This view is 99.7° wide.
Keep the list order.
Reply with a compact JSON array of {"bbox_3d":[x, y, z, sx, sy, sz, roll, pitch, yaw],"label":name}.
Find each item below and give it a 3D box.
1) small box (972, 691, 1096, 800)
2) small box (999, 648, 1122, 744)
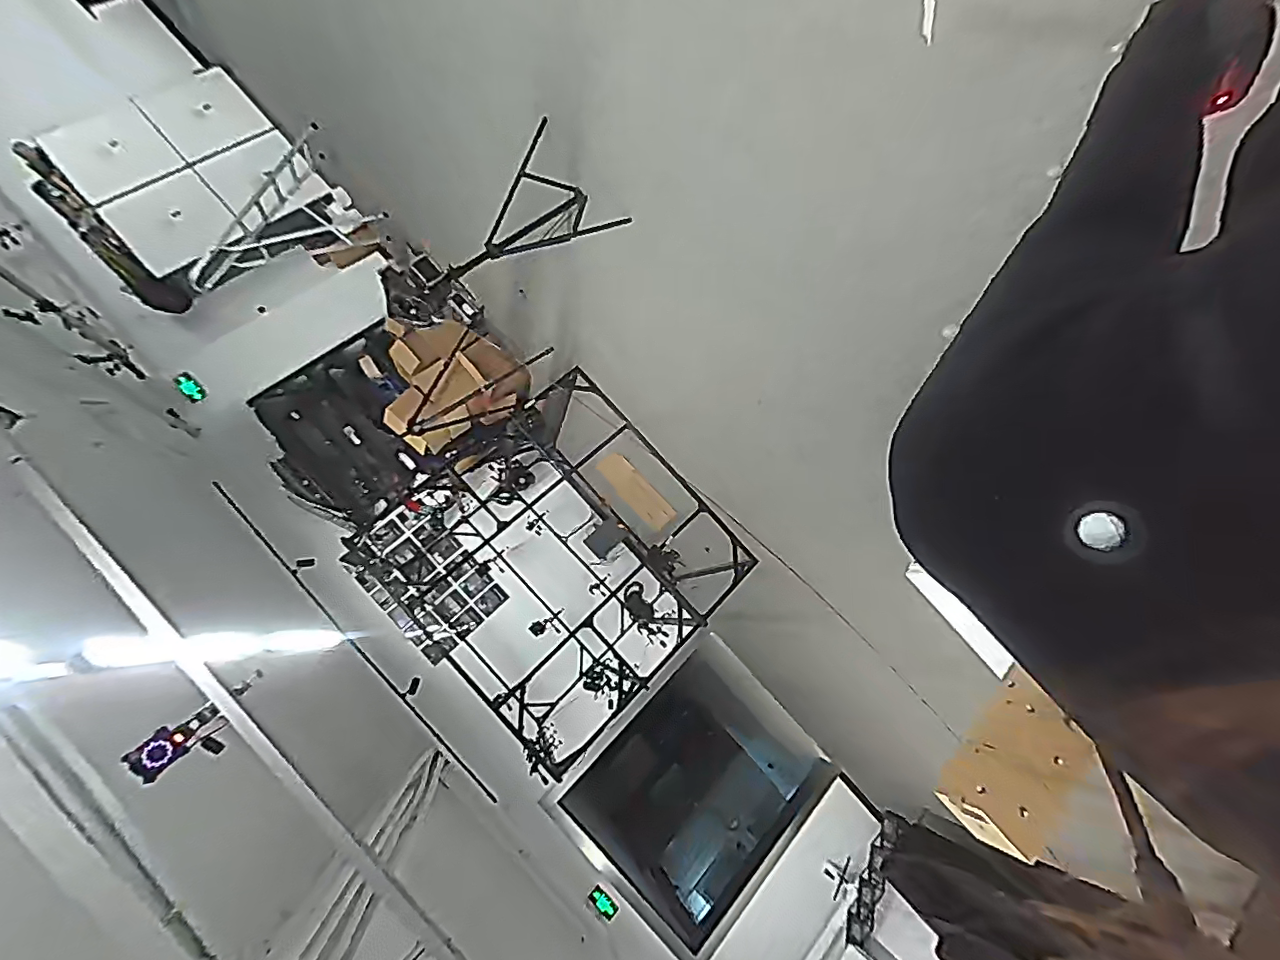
[{"bbox_3d":[1.036,0.687,1.426,0.179,0.176,0.168,47,163,0],"label":"small box"},{"bbox_3d":[1.150,0.582,1.481,0.168,0.176,0.179,47,162,1],"label":"small box"}]
